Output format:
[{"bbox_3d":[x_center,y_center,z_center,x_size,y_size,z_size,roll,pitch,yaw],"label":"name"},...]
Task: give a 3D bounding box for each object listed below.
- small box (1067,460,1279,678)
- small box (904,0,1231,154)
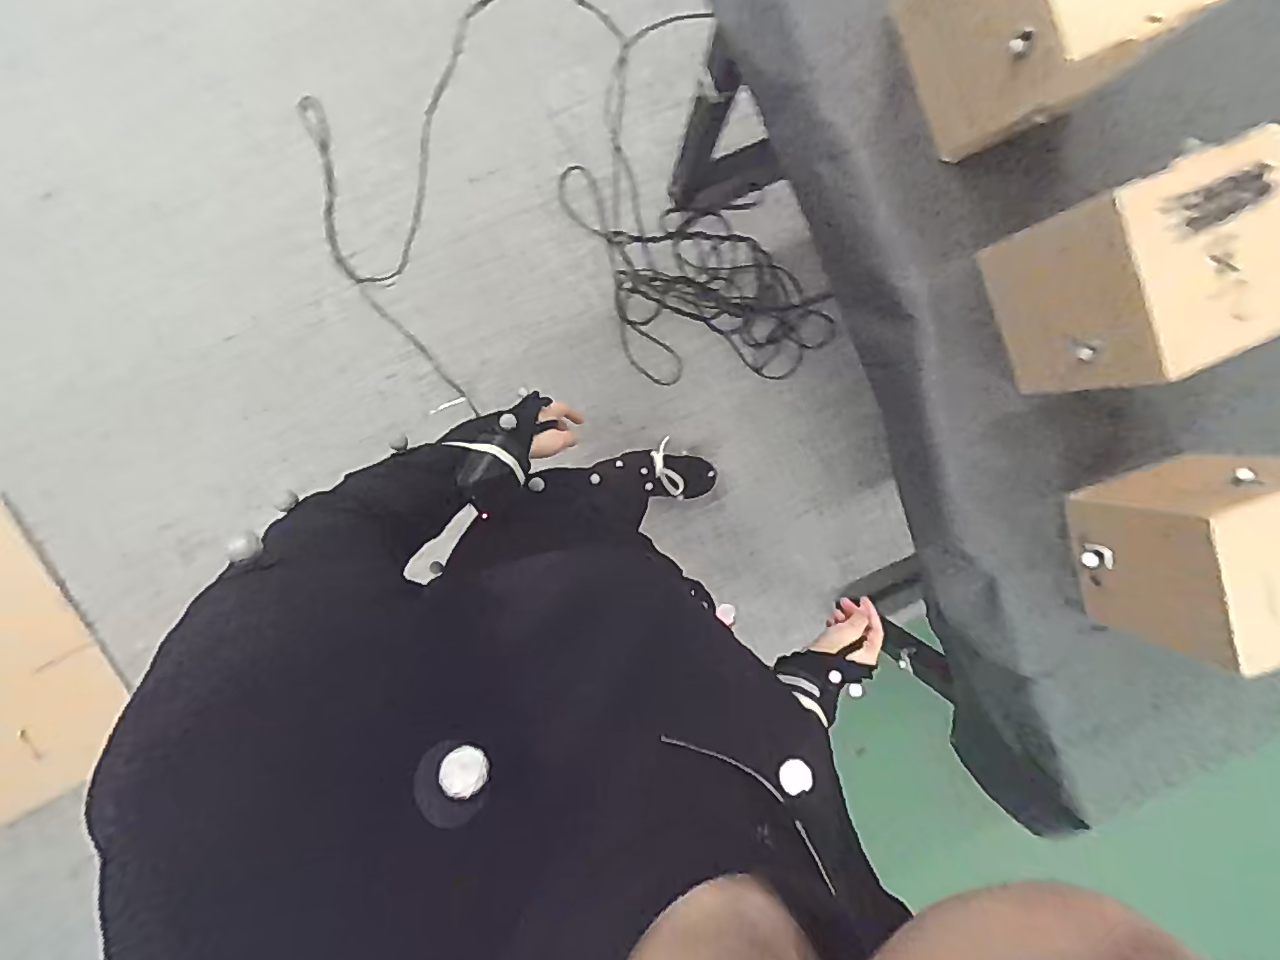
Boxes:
[{"bbox_3d":[0.624,0.079,0.585,0.179,0.176,0.168,-18,95,-2],"label":"small box"},{"bbox_3d":[0.390,-0.461,0.518,0.168,0.176,0.179,-24,98,-3],"label":"small box"}]
